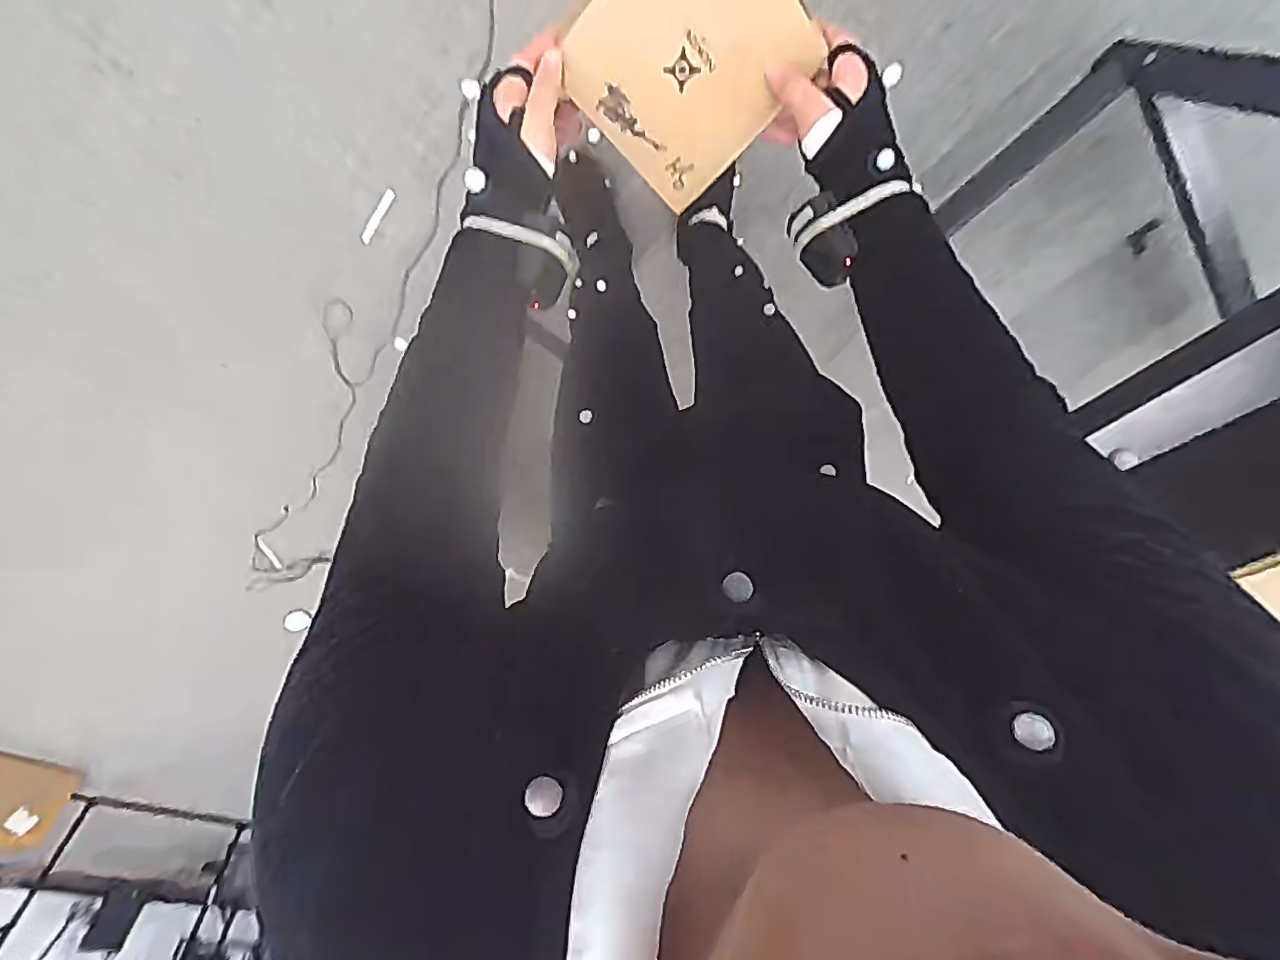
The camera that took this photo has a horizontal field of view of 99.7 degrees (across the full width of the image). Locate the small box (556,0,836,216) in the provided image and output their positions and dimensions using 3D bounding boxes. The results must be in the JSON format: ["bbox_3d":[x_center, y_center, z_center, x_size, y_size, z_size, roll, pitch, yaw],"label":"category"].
[{"bbox_3d":[0.036,-0.390,0.490,0.179,0.176,0.168,-38,129,26],"label":"small box"}]
